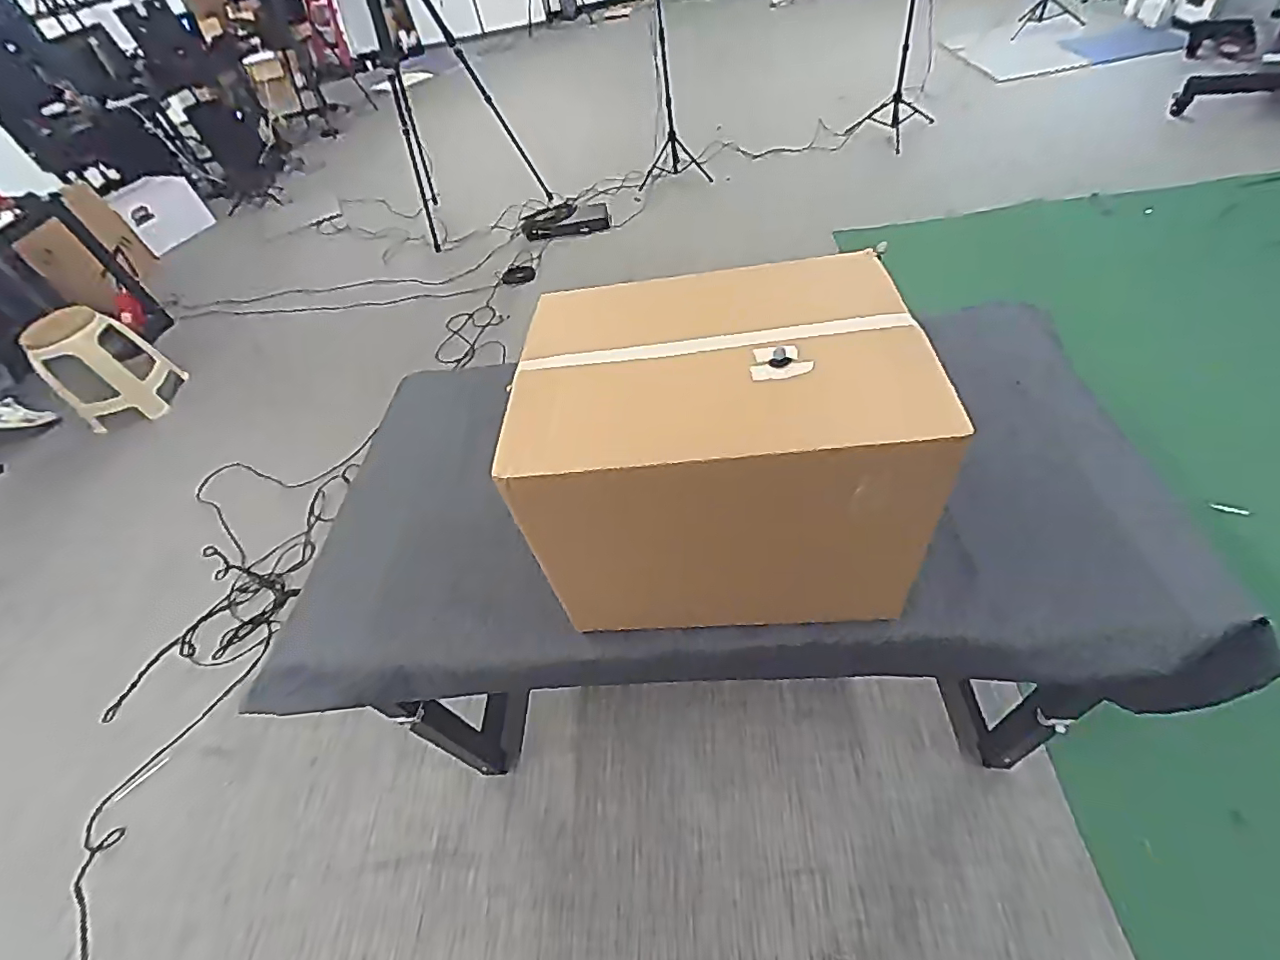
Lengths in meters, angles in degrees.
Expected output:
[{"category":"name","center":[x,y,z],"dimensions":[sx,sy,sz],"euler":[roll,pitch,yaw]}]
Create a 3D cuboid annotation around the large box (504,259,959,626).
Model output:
[{"category":"large box","center":[0.092,-0.035,0.675],"dimensions":[0.408,0.320,0.320],"euler":[-4,48,7]}]
